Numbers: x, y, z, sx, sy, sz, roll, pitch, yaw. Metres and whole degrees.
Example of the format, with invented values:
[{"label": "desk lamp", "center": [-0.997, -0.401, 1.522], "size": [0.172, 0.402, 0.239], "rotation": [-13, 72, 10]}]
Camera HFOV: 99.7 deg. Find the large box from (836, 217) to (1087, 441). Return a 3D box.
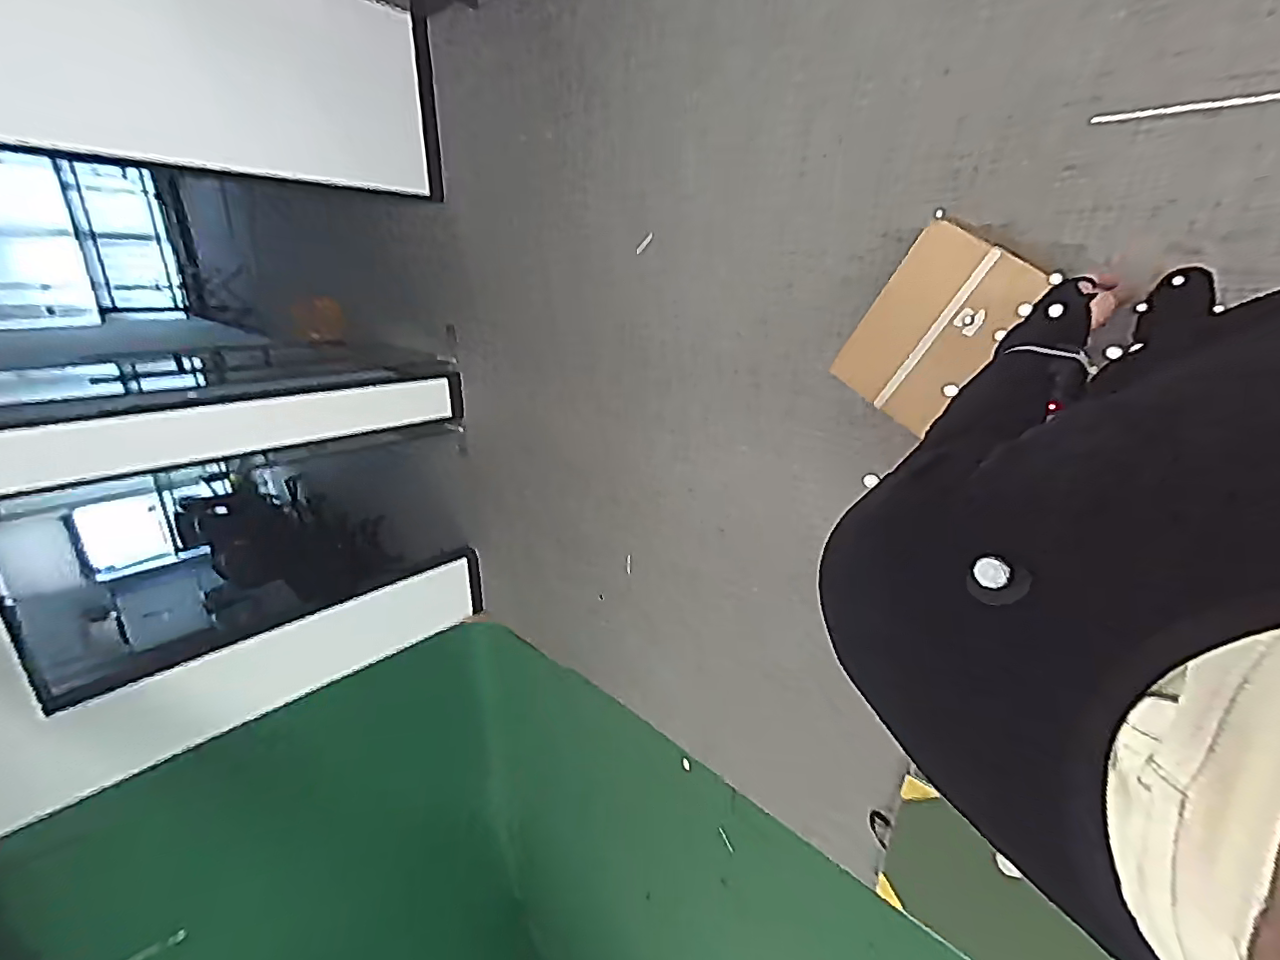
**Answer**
[{"label": "large box", "center": [0.774, -0.363, 1.329], "size": [0.320, 0.320, 0.408], "rotation": [46, 130, 23]}]
